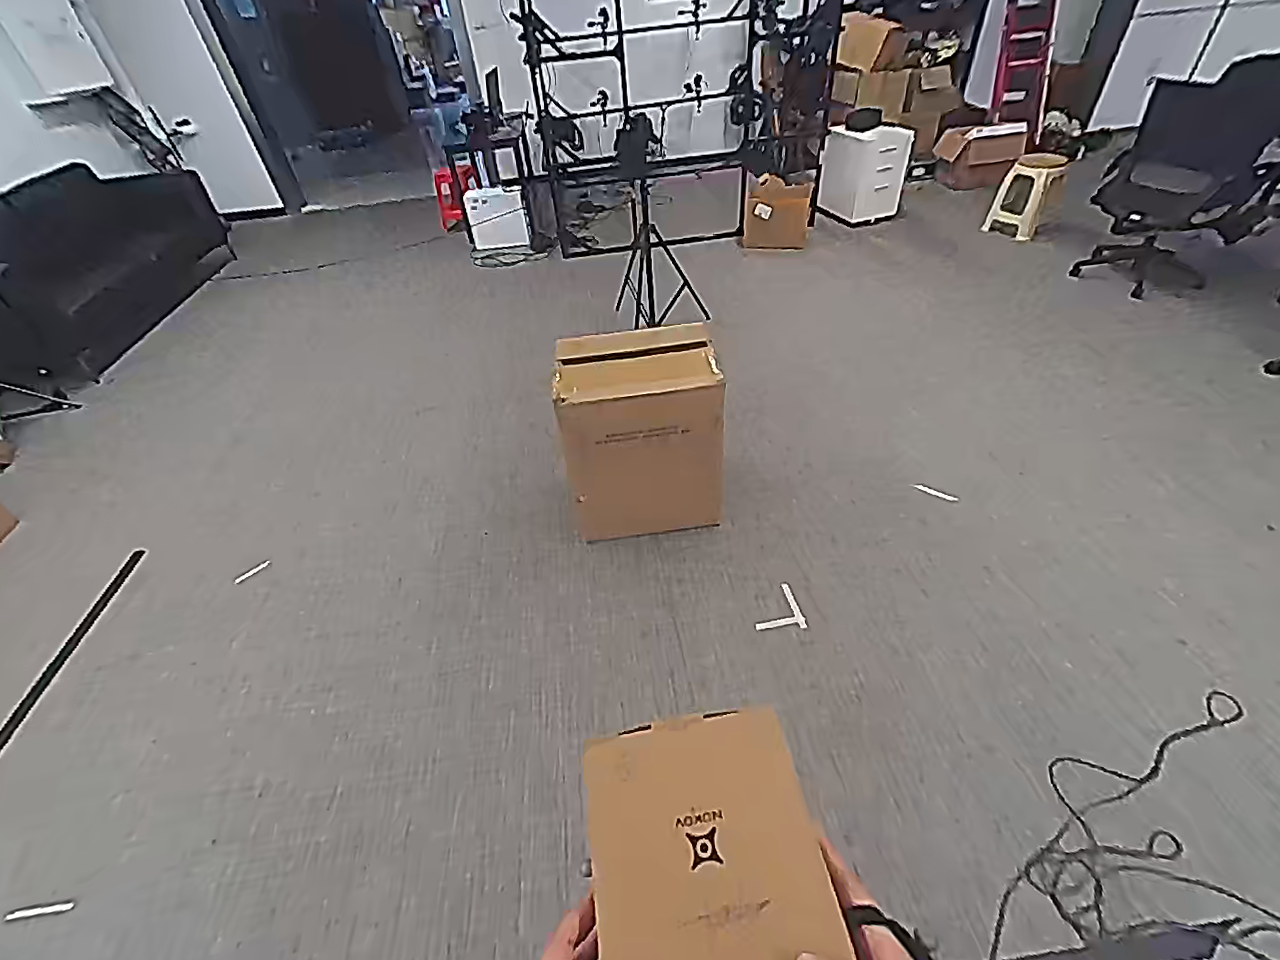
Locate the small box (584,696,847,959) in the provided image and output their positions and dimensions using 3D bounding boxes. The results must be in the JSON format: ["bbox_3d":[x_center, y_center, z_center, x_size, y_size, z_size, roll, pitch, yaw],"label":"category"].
[{"bbox_3d":[0.049,0.314,0.463,0.168,0.176,0.179,-10,47,-3],"label":"small box"}]
